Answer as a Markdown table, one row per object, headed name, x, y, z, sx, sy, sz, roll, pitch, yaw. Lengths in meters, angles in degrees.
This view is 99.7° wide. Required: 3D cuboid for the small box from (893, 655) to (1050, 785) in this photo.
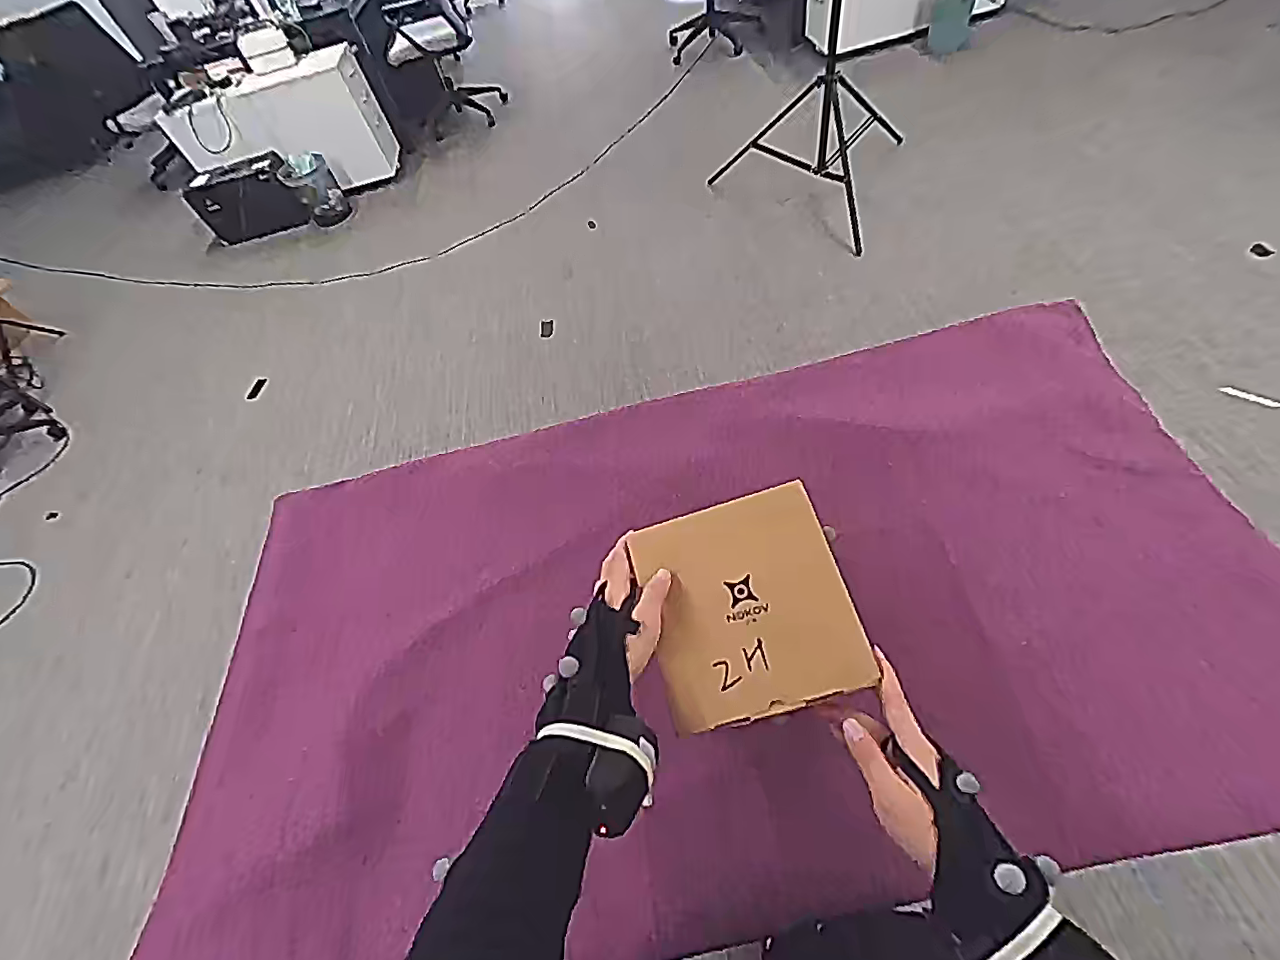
| name | x | y | z | sx | sy | sz | roll | pitch | yaw |
| --- | --- | --- | --- | --- | --- | --- | --- | --- | --- |
| small box | 0.586 | 0.443 | 0.985 | 0.168 | 0.176 | 0.179 | -14 | 53 | 4 |
